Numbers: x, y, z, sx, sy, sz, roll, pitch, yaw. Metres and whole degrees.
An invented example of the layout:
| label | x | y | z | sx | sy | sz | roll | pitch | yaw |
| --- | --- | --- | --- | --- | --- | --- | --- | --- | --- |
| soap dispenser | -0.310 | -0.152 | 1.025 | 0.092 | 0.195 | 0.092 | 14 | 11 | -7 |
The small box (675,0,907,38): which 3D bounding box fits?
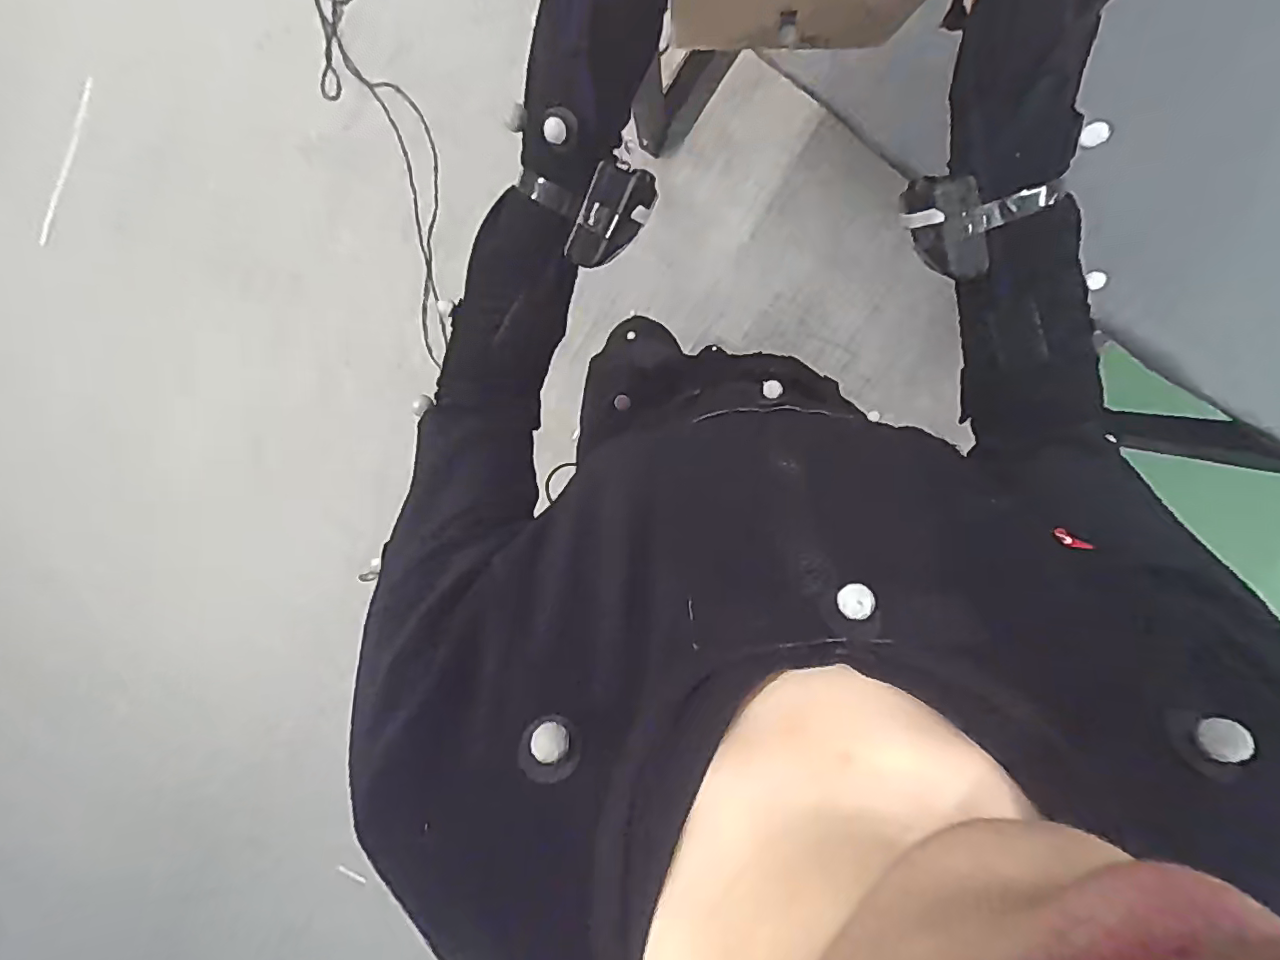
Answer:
| label | x | y | z | sx | sy | sz | roll | pitch | yaw |
| --- | --- | --- | --- | --- | --- | --- | --- | --- | --- |
| small box | 0.104 | -0.396 | 0.309 | 0.168 | 0.176 | 0.179 | 3 | 111 | 2 |
